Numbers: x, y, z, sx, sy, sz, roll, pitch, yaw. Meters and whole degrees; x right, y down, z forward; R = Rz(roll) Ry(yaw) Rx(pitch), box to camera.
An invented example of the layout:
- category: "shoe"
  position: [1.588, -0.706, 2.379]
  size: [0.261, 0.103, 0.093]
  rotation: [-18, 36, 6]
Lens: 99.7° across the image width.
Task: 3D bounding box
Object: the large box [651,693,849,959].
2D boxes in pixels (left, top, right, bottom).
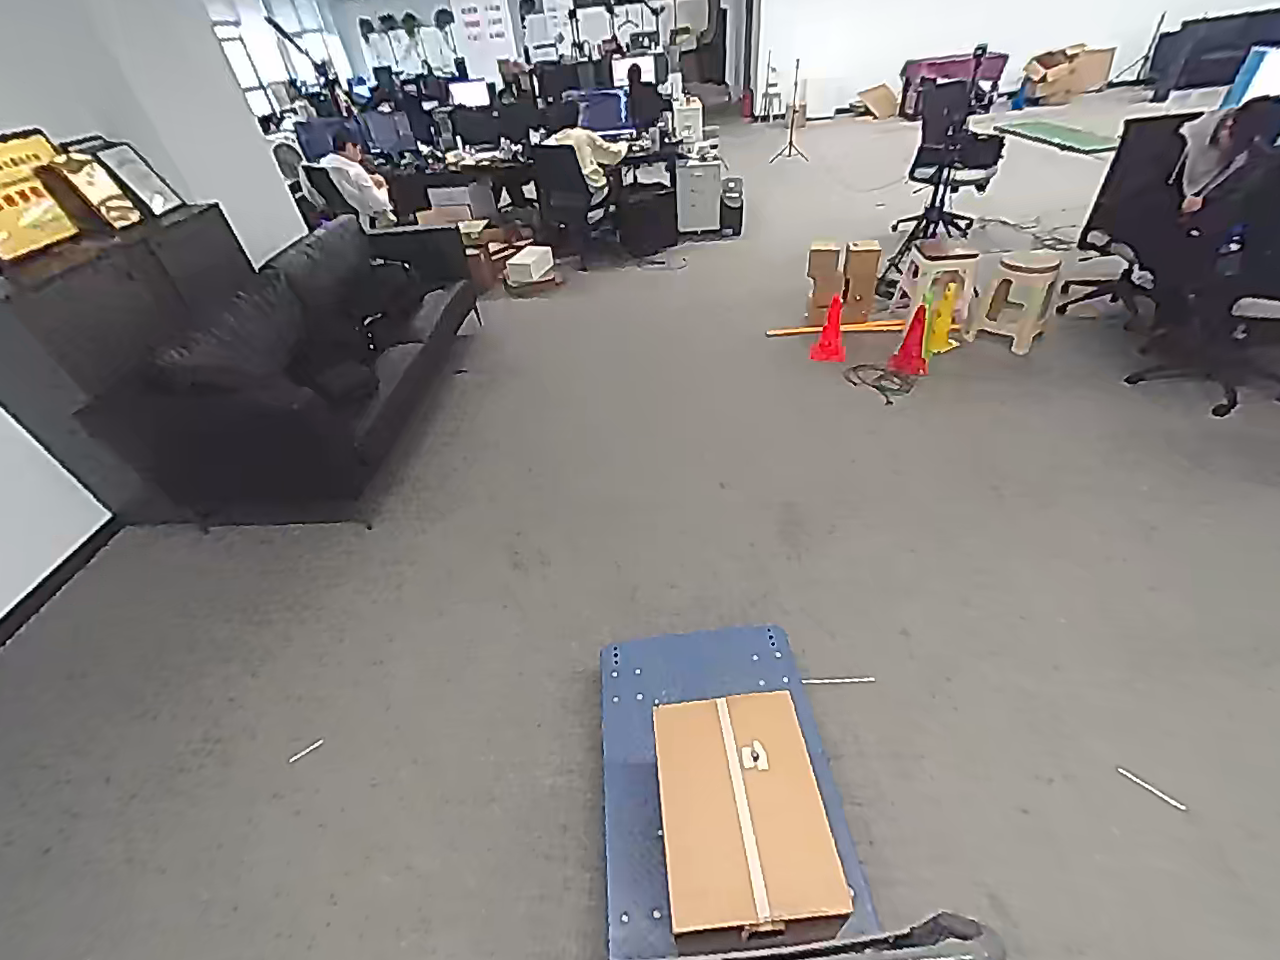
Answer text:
- category: "large box"
  position: [0.210, 0.744, 1.171]
  size: [0.320, 0.320, 0.408]
  rotation: [-7, 40, 0]
